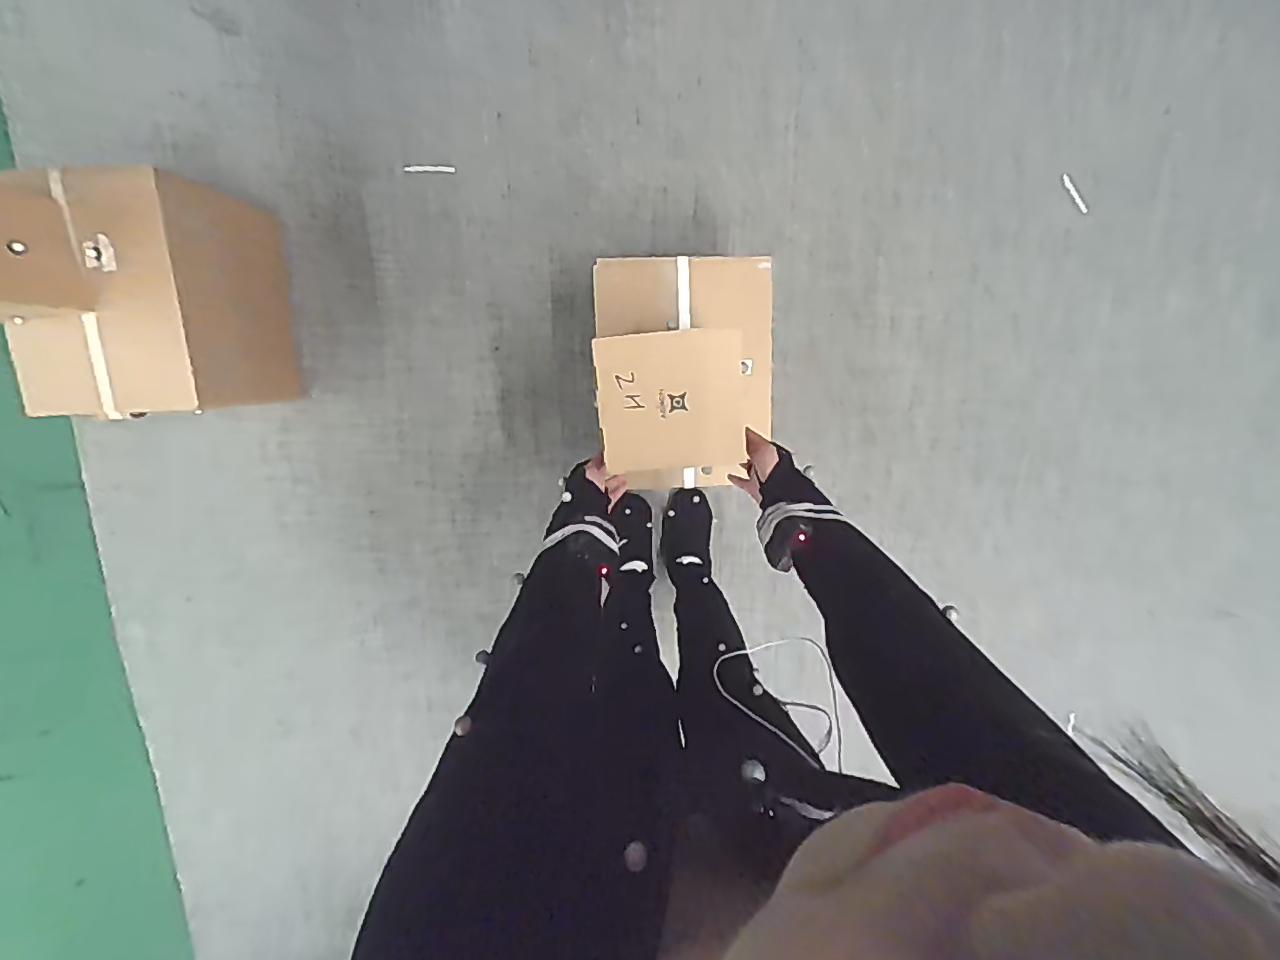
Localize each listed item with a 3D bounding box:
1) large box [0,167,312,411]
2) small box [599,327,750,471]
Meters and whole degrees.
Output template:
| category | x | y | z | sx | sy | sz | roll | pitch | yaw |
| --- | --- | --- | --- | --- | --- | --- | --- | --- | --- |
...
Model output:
| category | x | y | z | sx | sy | sz | roll | pitch | yaw |
| --- | --- | --- | --- | --- | --- | --- | --- | --- | --- |
| large box | -0.929 | -0.354 | 1.094 | 0.320 | 0.320 | 0.408 | -1 | 101 | 1 |
| small box | 0.044 | -0.112 | 0.730 | 0.179 | 0.176 | 0.168 | -4 | 101 | 3 |
